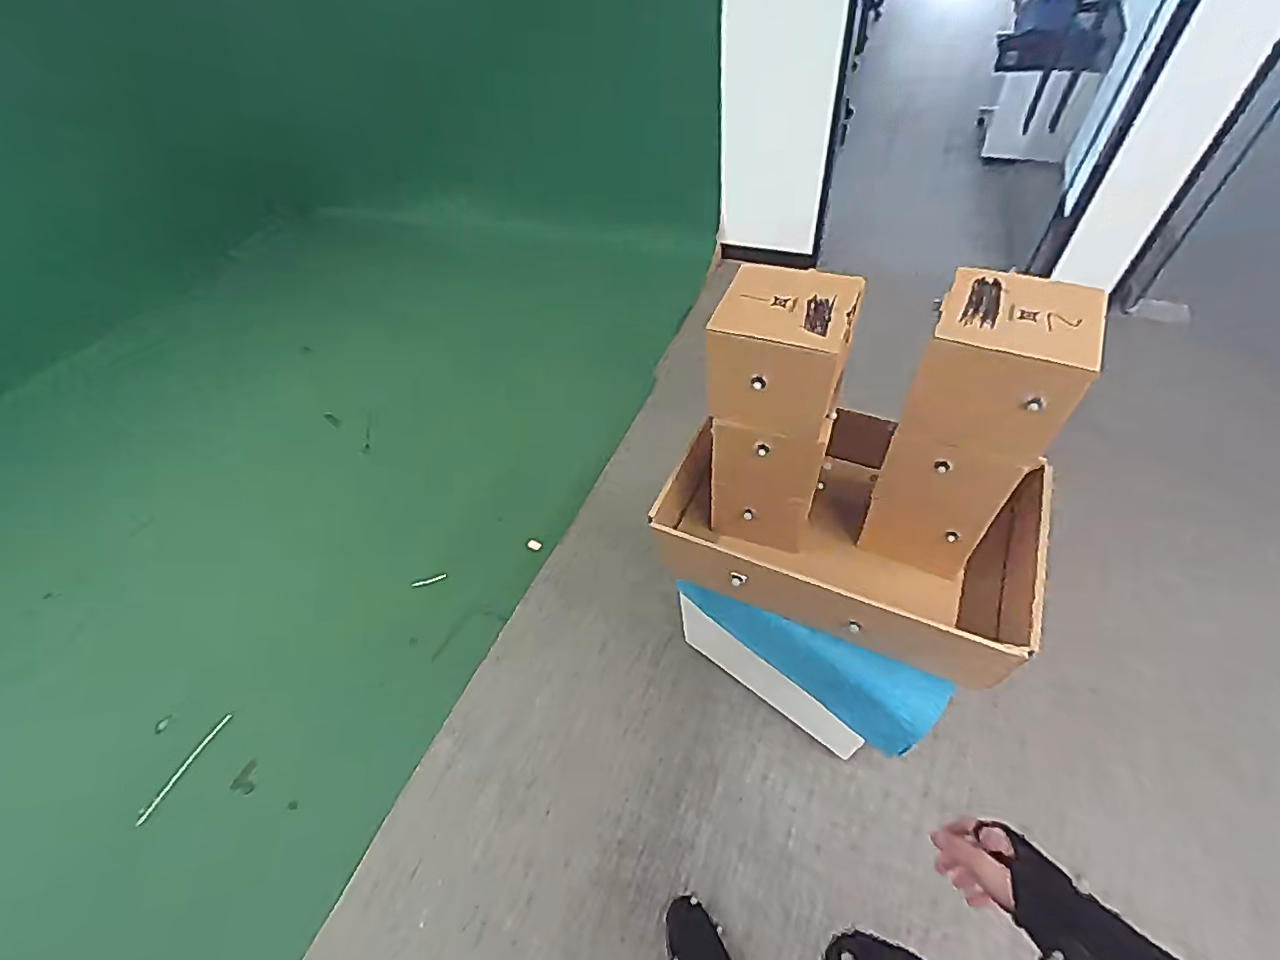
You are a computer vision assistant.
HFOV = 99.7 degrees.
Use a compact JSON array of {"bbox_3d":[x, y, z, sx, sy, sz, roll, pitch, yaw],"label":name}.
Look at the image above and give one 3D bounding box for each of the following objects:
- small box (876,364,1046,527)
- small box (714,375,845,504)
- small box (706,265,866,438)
[{"bbox_3d":[0.496,-0.051,0.855,0.179,0.176,0.168,21,59,22],"label":"small box"},{"bbox_3d":[0.230,-0.081,0.916,0.179,0.176,0.168,15,56,16],"label":"small box"},{"bbox_3d":[0.207,-0.184,0.790,0.179,0.176,0.168,16,57,20],"label":"small box"}]
